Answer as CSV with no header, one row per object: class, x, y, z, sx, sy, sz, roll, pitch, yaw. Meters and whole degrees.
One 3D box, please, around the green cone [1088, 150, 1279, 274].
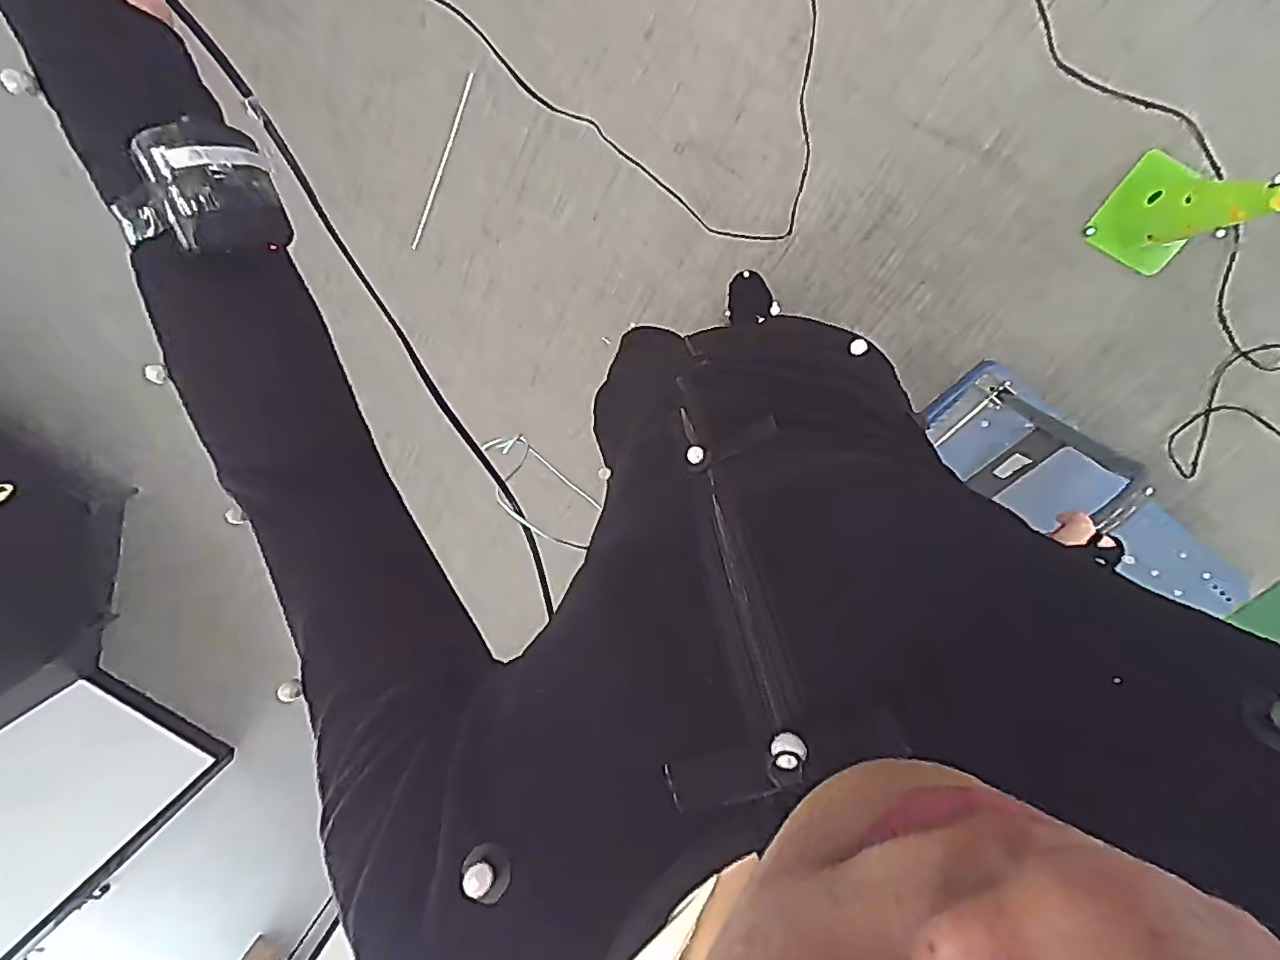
green cone,1.104,-0.526,1.034,0.200,0.368,0.202,30,114,0
